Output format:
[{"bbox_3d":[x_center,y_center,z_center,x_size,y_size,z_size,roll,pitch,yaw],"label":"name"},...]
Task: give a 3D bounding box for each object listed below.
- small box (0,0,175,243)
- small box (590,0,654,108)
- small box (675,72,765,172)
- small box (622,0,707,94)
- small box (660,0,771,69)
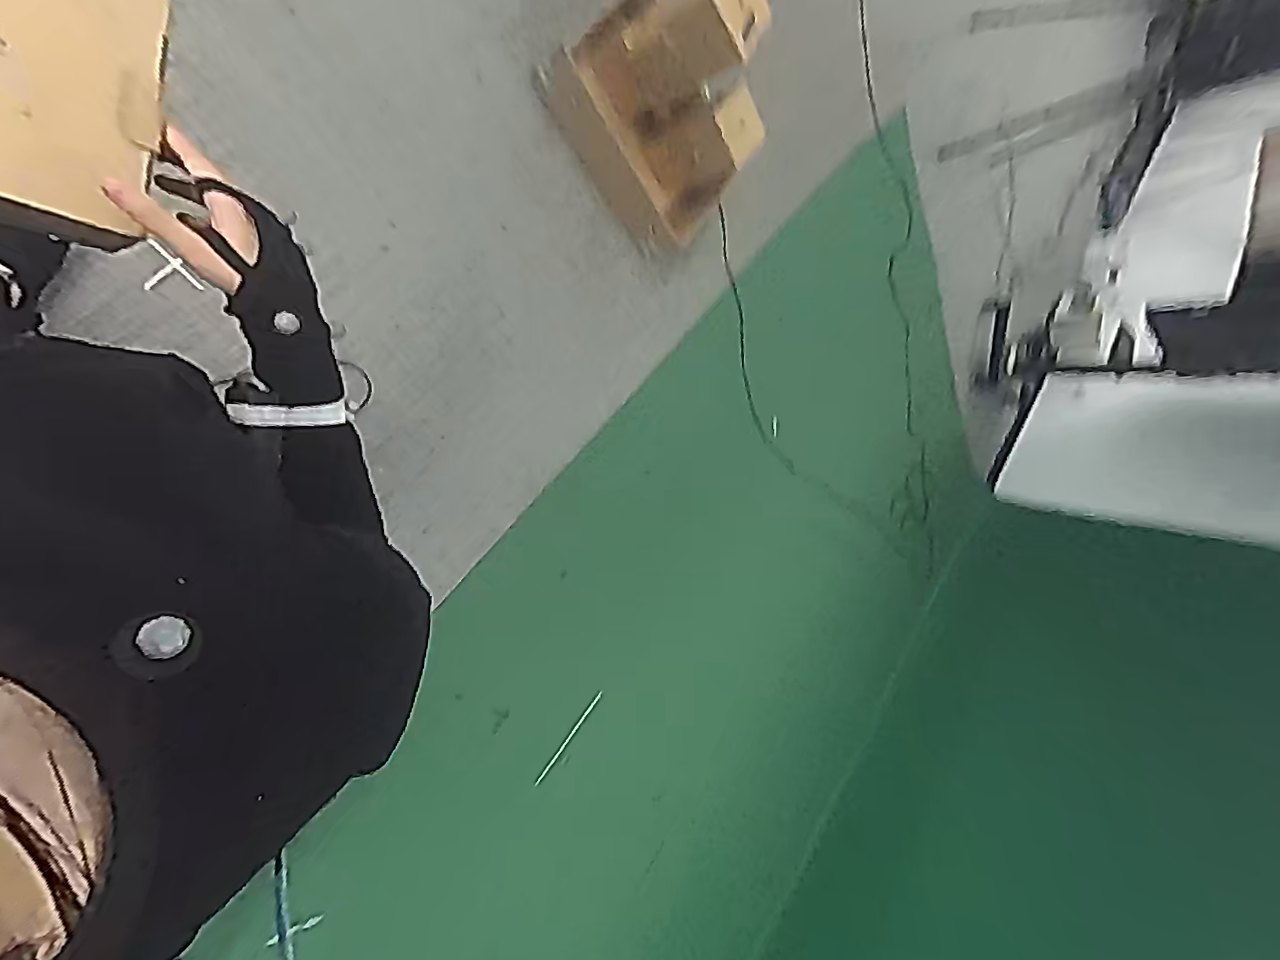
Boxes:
[{"bbox_3d":[-0.444,-0.271,0.355,0.179,0.176,0.168,6,98,-50],"label":"small box"},{"bbox_3d":[-0.014,-1.237,1.578,0.168,0.176,0.179,-55,131,-16],"label":"small box"},{"bbox_3d":[0.236,-1.059,1.612,0.179,0.176,0.168,-53,127,-17],"label":"small box"},{"bbox_3d":[0.086,-1.188,1.458,0.179,0.176,0.168,27,84,-42],"label":"small box"},{"bbox_3d":[0.183,-1.160,1.329,0.179,0.176,0.168,36,77,-40],"label":"small box"}]
